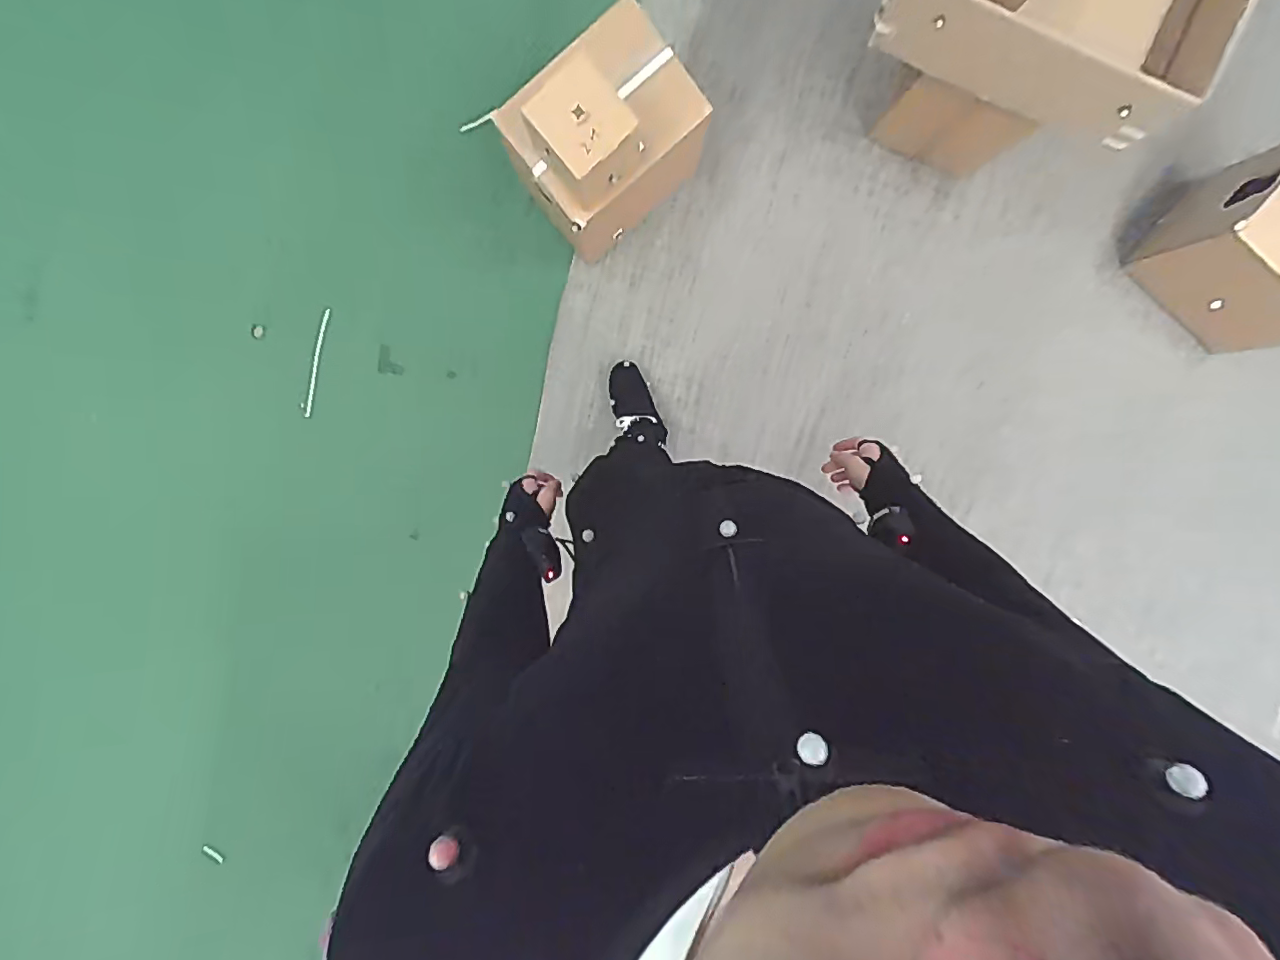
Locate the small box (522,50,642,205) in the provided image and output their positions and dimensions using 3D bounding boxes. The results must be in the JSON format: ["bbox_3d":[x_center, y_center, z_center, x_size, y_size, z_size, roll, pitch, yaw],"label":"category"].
[{"bbox_3d":[-0.116,-0.717,1.124,0.168,0.176,0.179,-41,97,4],"label":"small box"}]

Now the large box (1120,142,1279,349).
[{"bbox_3d":[1.634,-0.600,1.419,0.408,0.320,0.320,38,94,-4],"label":"large box"}]
